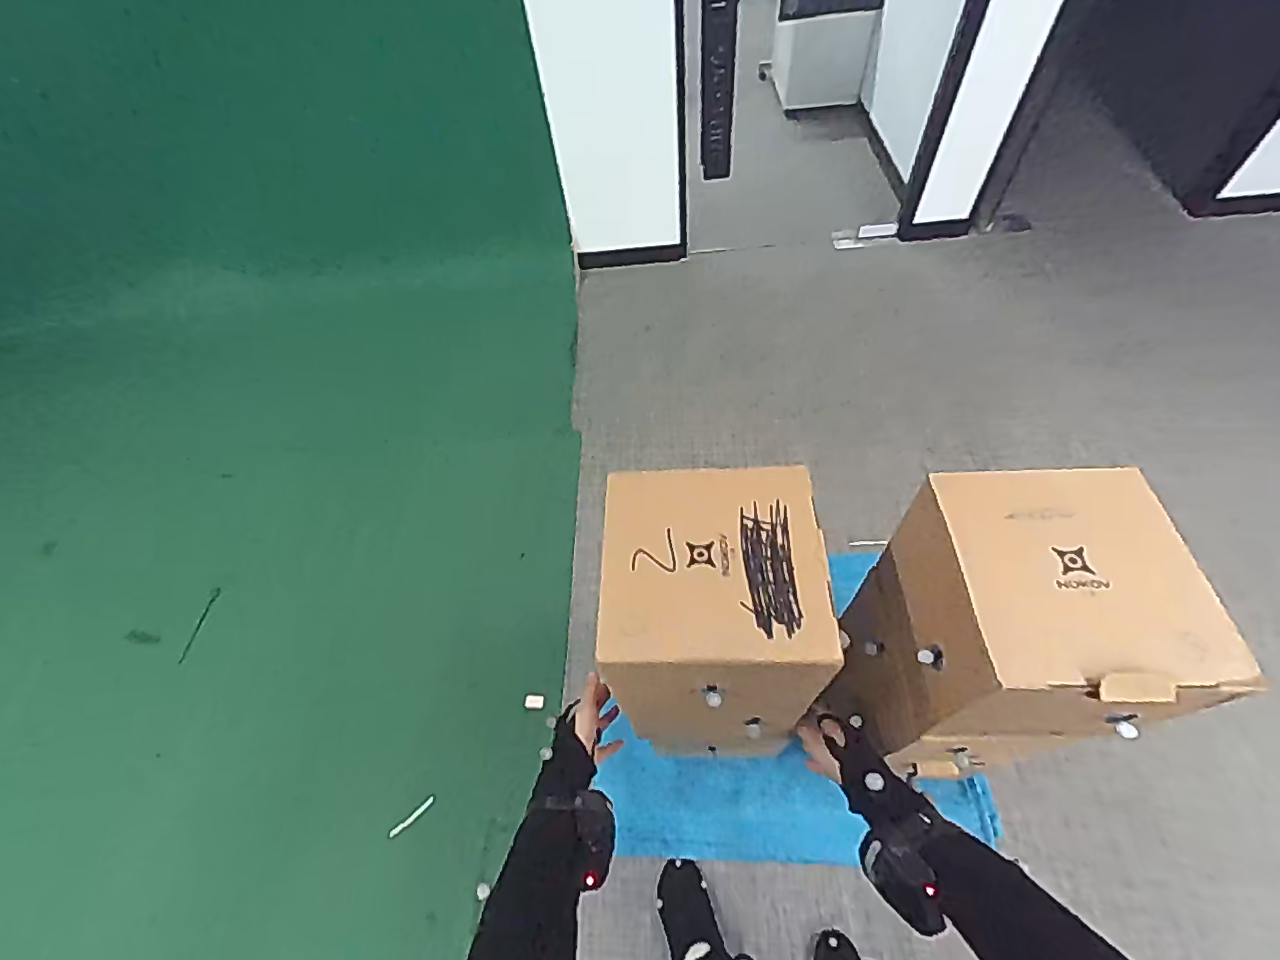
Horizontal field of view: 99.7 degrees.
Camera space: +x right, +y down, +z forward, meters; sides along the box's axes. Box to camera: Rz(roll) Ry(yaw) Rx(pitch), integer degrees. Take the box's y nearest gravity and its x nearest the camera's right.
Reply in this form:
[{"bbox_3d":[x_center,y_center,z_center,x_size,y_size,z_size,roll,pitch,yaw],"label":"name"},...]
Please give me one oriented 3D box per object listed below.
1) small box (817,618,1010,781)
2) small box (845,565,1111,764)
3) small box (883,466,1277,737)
[{"bbox_3d":[0.343,0.295,0.720,0.168,0.176,0.179,-1,56,5],"label":"small box"},{"bbox_3d":[0.338,0.203,0.586,0.168,0.176,0.179,-3,54,4],"label":"small box"},{"bbox_3d":[0.325,0.108,0.454,0.168,0.176,0.179,-1,54,5],"label":"small box"}]
